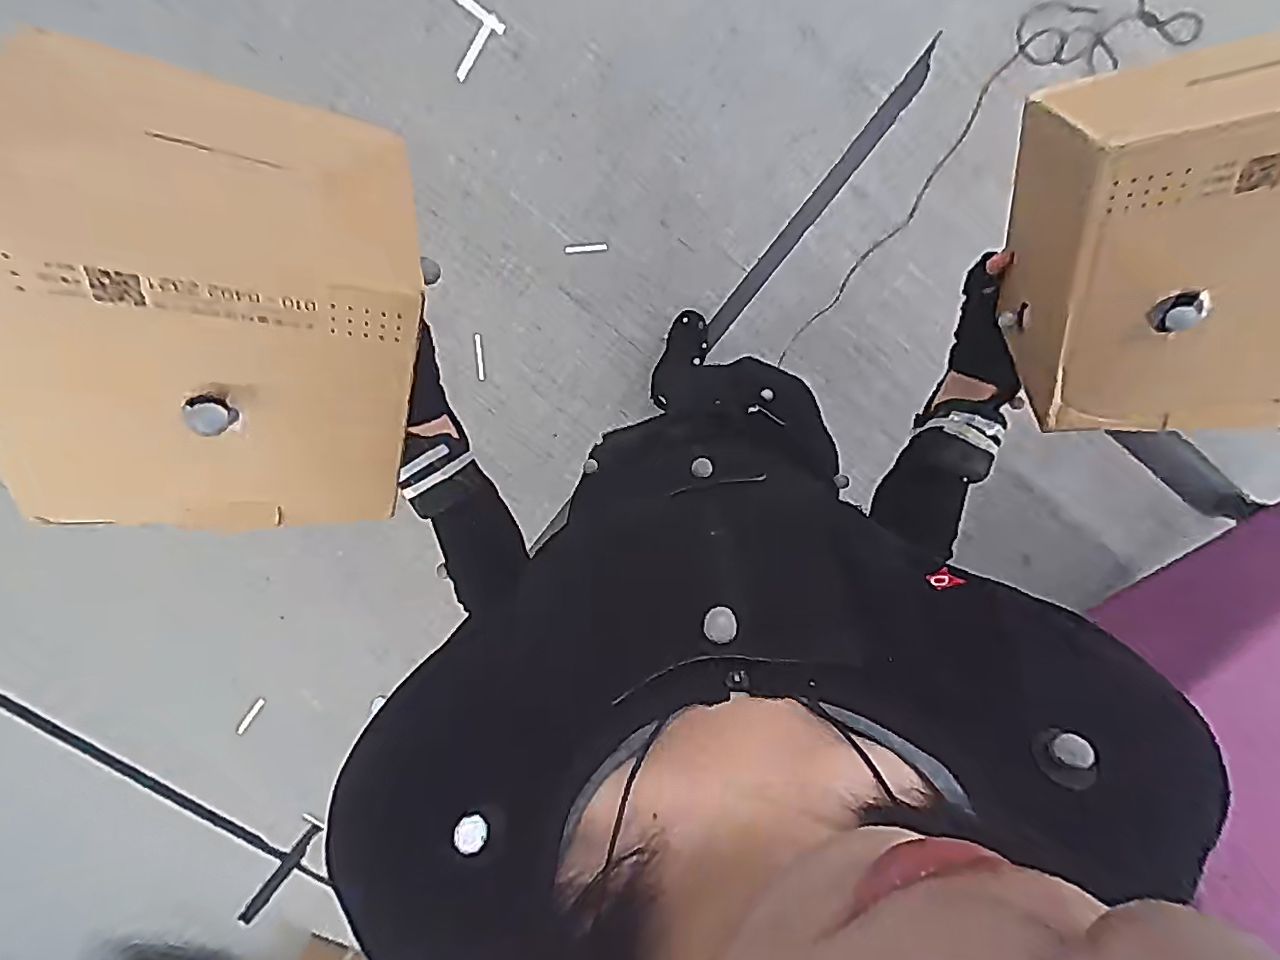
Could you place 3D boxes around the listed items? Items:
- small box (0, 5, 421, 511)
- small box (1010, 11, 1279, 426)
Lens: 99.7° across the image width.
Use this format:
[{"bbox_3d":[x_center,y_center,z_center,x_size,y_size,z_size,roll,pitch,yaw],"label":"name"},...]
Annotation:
[{"bbox_3d":[-0.214,-0.102,0.282,0.168,0.179,0.176,3,137,-29],"label":"small box"},{"bbox_3d":[0.335,-0.151,0.309,0.168,0.179,0.176,1,131,22],"label":"small box"}]
